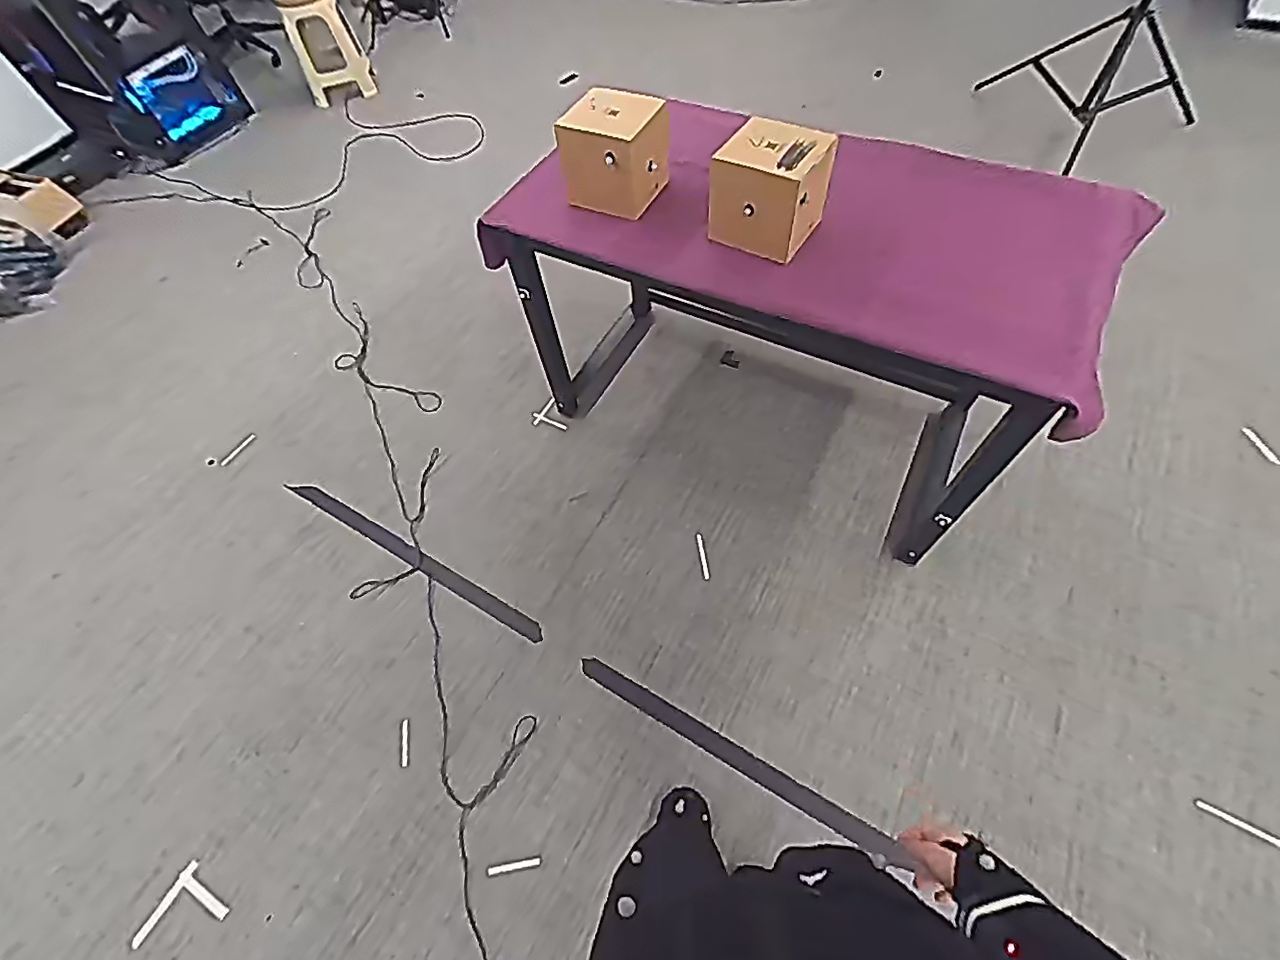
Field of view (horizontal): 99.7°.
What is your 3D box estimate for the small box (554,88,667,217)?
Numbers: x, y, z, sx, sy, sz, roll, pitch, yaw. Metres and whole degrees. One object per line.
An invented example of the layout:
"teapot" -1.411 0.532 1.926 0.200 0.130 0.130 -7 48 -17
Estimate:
"small box" -0.053 -0.689 1.146 0.179 0.176 0.168 22 62 17
